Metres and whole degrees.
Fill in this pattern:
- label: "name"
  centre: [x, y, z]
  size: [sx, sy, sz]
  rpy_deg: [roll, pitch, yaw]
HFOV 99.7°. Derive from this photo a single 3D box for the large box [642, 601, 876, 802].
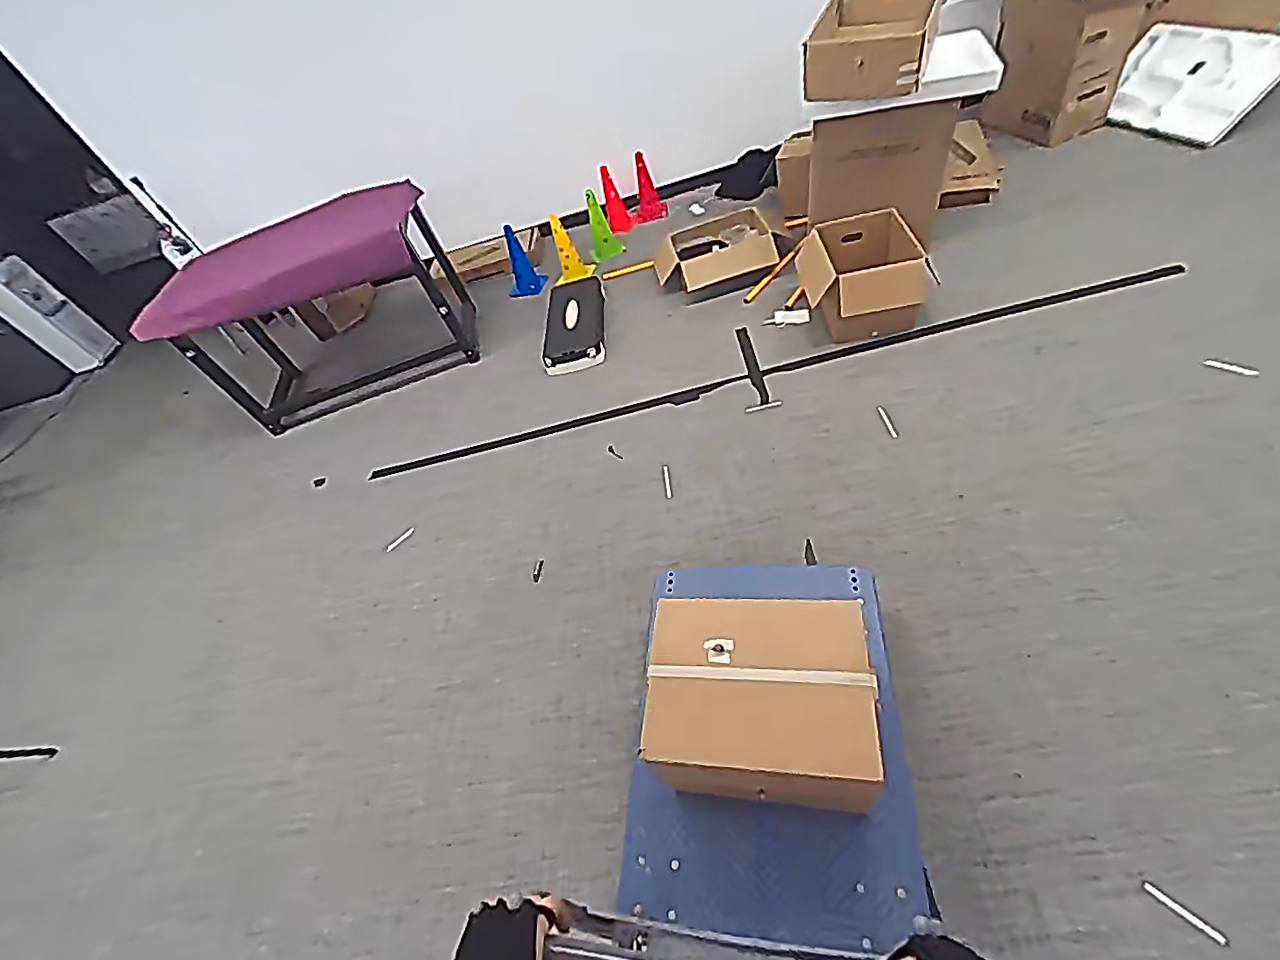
- label: "large box"
  centre: [0.251, 0.463, 1.130]
  size: [0.408, 0.320, 0.320]
  rpy_deg: [-4, 50, 17]
